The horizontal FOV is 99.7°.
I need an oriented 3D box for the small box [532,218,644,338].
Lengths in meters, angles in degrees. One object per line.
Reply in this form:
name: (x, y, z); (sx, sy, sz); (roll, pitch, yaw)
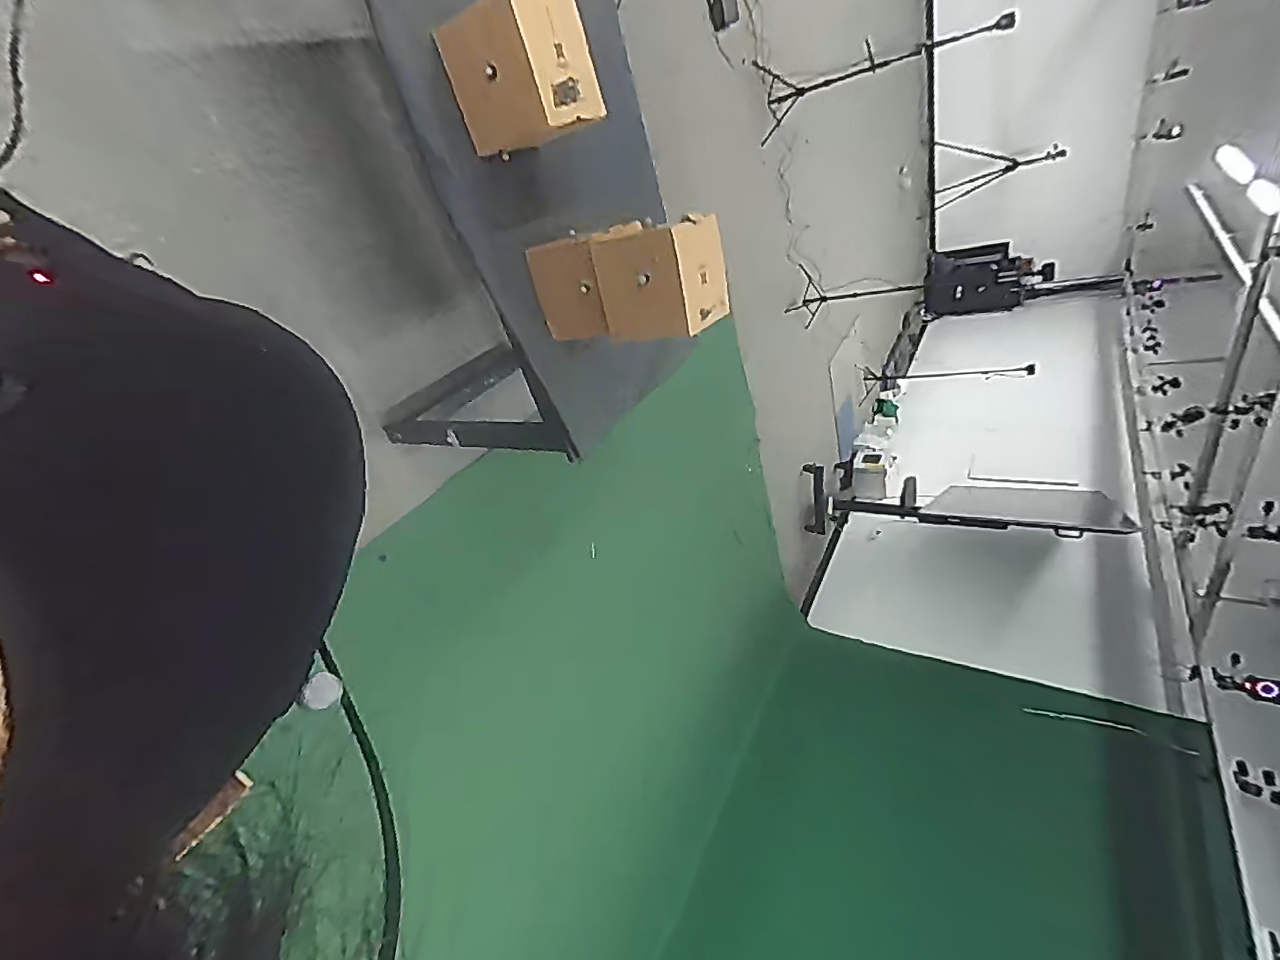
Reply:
small box: (-0.084, -0.390, 1.057); (0.168, 0.176, 0.179); (-45, 129, -43)

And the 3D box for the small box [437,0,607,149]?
small box: (-0.187, -0.658, 0.876); (0.168, 0.176, 0.179); (-49, 130, -42)

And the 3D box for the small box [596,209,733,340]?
small box: (0.045, -0.360, 0.958); (0.168, 0.176, 0.179); (-41, 126, -45)
